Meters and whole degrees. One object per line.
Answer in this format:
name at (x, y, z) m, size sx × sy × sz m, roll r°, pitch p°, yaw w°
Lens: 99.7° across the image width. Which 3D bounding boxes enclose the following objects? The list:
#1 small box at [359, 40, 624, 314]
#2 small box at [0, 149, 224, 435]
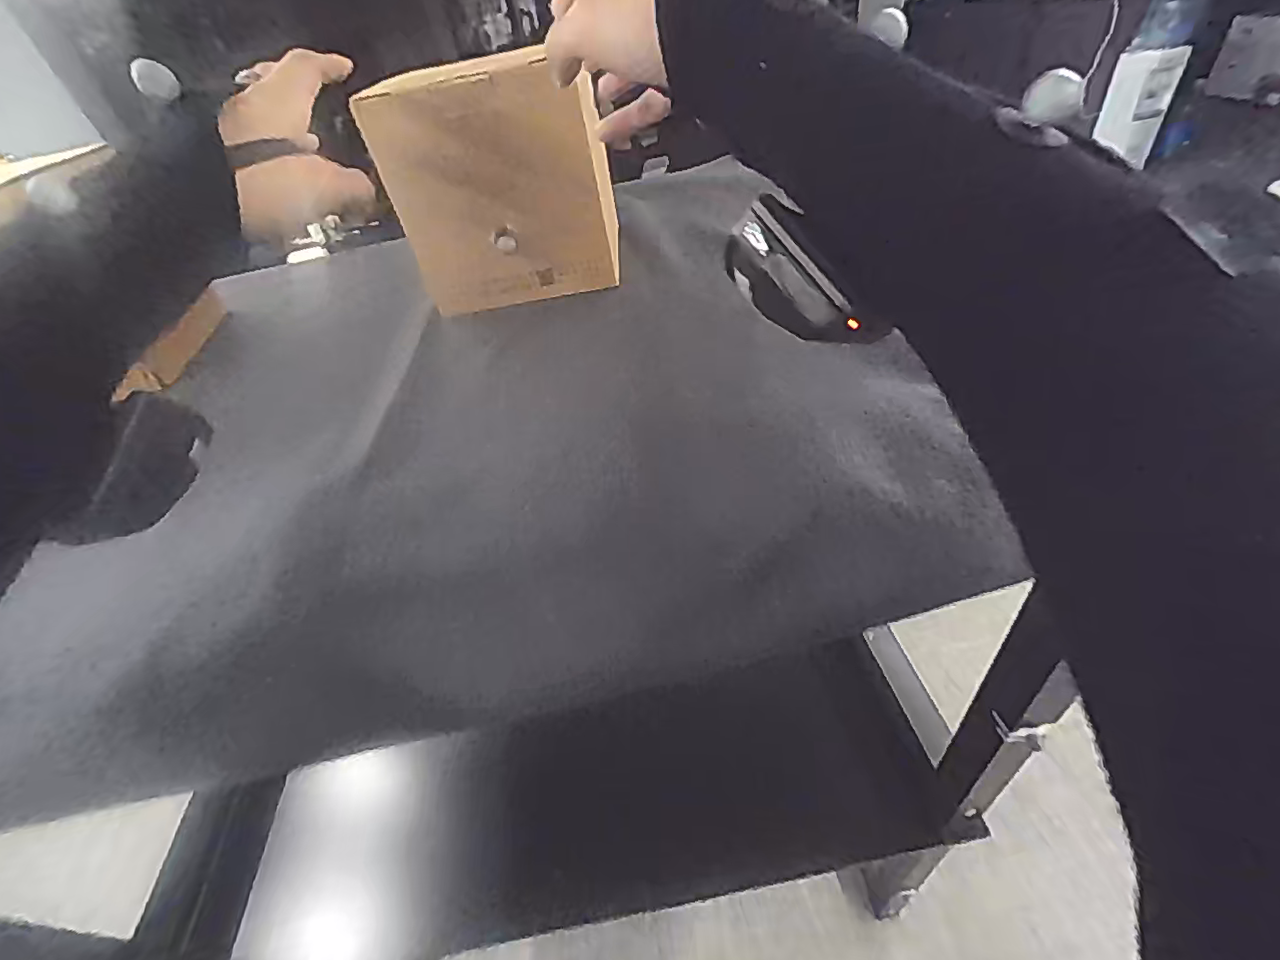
small box at (-0.110, -0.273, 0.491) m, size 0.168 × 0.176 × 0.179 m, roll -9°, pitch 43°, yaw 5°
small box at (-0.520, -0.167, 0.479) m, size 0.168 × 0.176 × 0.179 m, roll -16°, pitch 43°, yaw -5°
